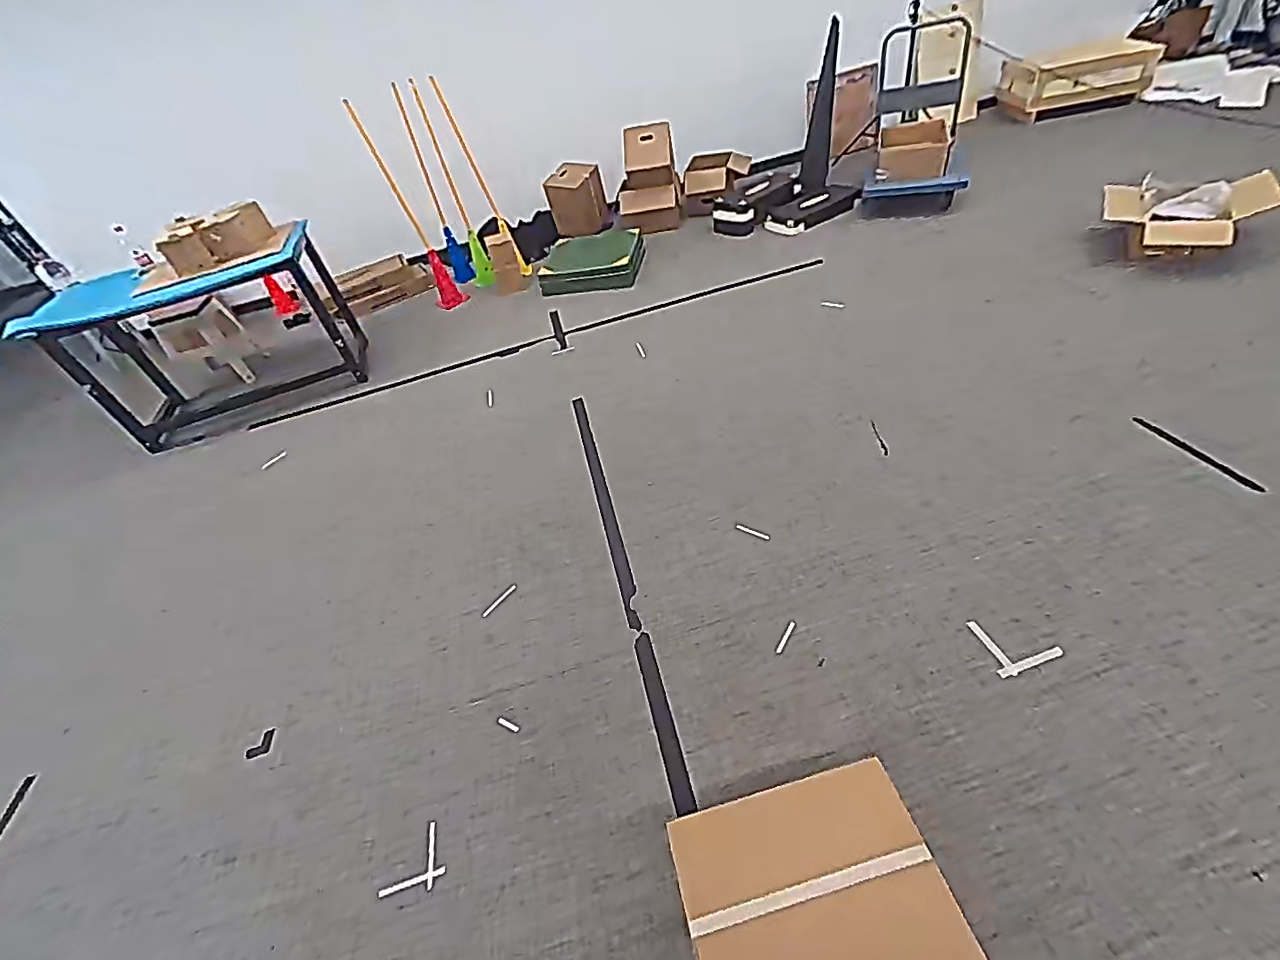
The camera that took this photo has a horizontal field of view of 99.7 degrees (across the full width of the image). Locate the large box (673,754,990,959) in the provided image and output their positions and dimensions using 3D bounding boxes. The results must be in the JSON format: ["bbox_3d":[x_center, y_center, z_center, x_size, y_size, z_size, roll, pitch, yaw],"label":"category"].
[{"bbox_3d":[0.305,0.762,0.965,0.408,0.320,0.320,-16,43,-2],"label":"large box"}]
